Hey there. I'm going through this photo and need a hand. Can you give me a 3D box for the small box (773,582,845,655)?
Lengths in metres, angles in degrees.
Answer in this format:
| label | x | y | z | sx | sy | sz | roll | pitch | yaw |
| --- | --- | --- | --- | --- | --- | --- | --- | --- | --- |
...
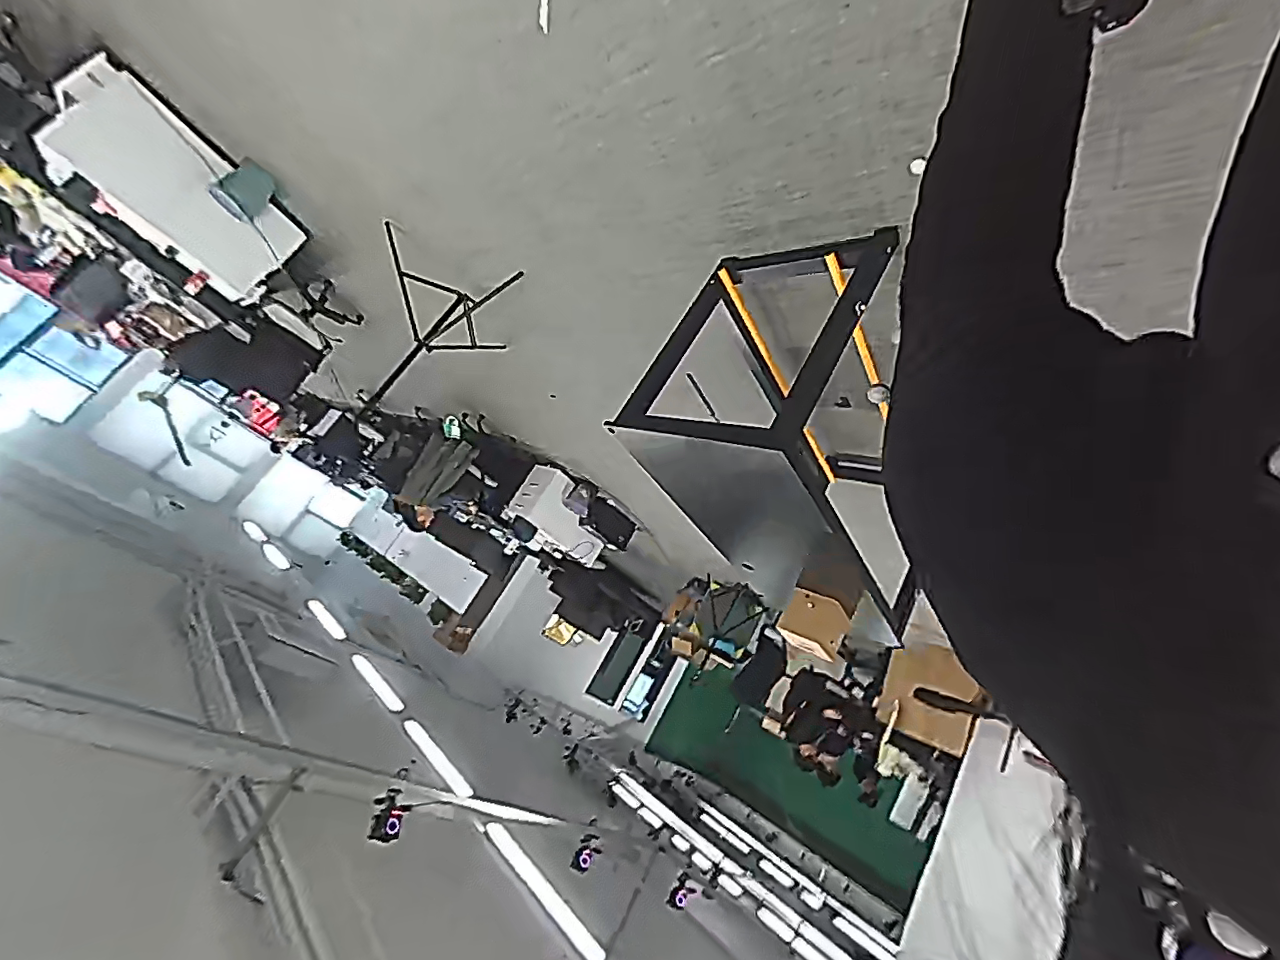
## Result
| label | x | y | z | sx | sy | sz | roll | pitch | yaw |
| --- | --- | --- | --- | --- | --- | --- | --- | --- | --- |
| small box | 0.609 | 0.492 | 1.931 | 0.168 | 0.176 | 0.179 | 14 | 154 | 44 |
